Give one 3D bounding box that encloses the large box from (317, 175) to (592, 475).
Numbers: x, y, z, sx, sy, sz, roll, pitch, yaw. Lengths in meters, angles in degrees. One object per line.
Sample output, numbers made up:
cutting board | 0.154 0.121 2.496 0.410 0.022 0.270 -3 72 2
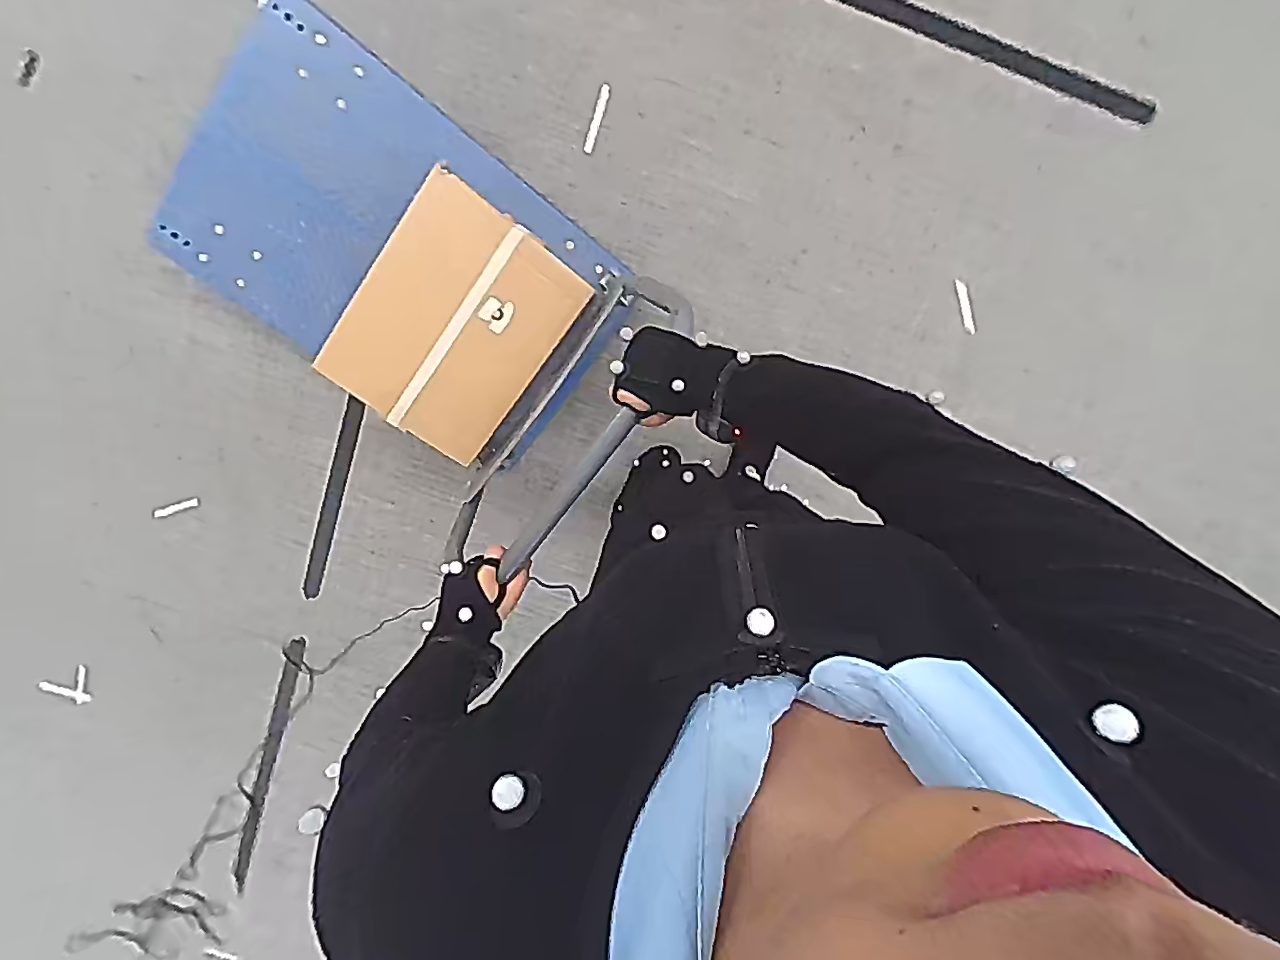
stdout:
large box | -0.331 -0.287 1.063 0.320 0.320 0.408 35 101 -16
